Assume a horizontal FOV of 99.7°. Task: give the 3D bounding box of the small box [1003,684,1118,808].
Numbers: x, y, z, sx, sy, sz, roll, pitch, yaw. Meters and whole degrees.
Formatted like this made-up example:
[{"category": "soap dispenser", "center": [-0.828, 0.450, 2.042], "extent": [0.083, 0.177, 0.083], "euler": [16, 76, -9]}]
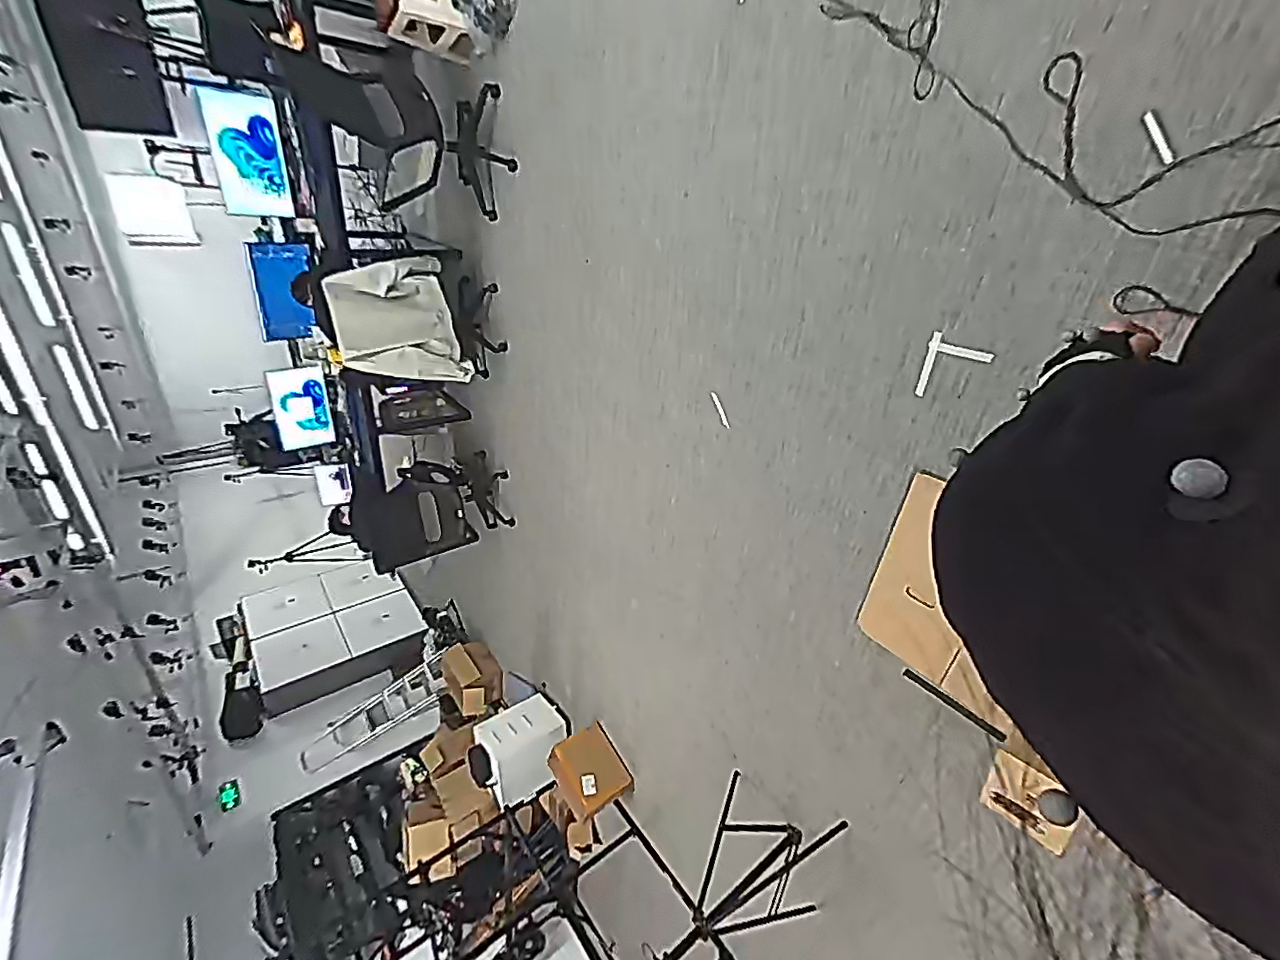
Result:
[{"category": "small box", "center": [1.031, 0.642, 1.325], "extent": [0.168, 0.176, 0.179], "euler": [24, 122, 45]}]
